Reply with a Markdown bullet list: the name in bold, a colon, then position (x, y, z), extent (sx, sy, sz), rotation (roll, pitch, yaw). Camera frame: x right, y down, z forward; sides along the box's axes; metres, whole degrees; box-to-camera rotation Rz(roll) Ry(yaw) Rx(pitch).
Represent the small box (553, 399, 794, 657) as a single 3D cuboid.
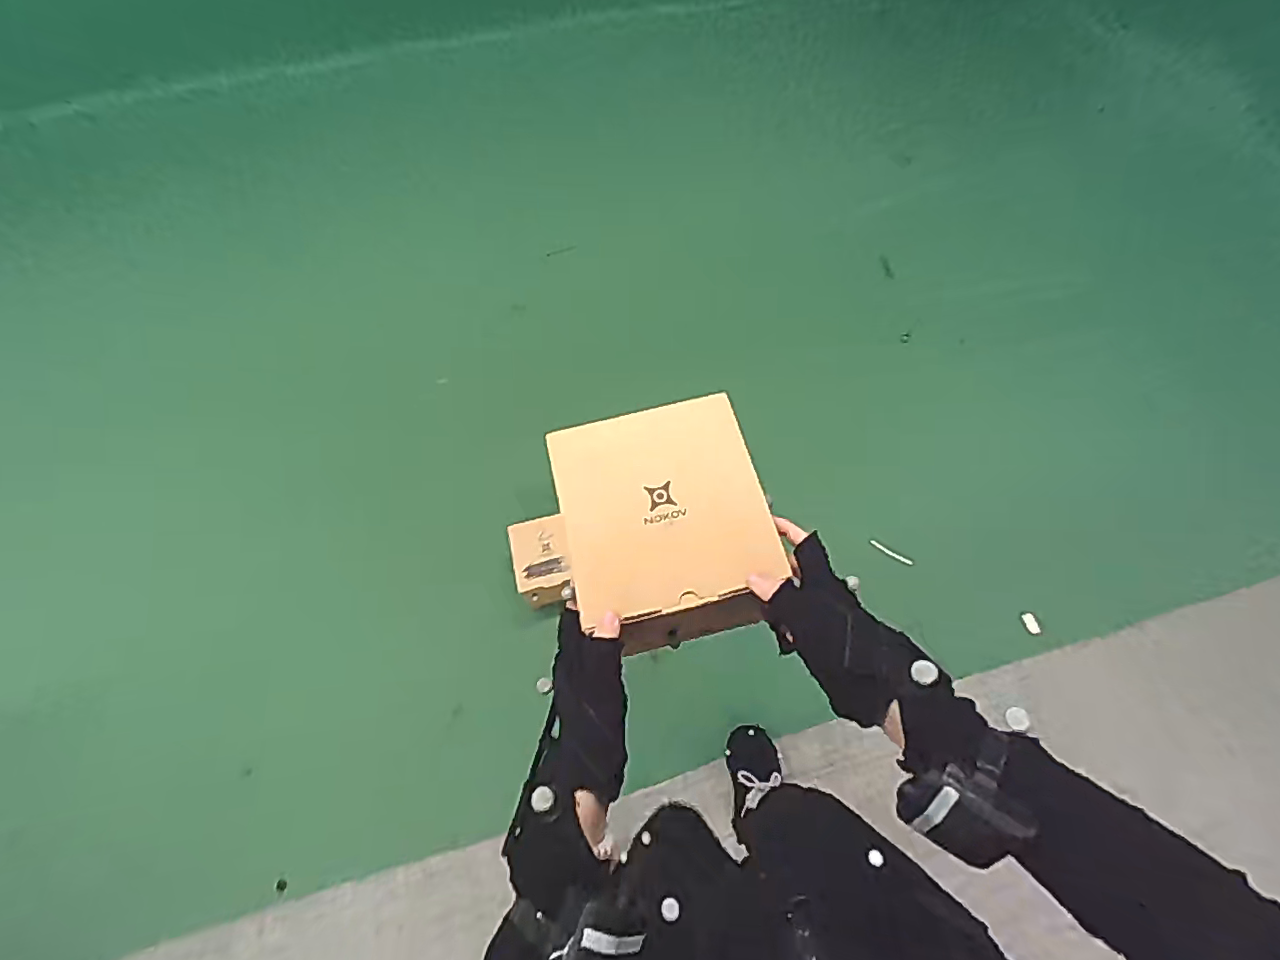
- **small box**: position (0.023, 0.054, 0.515), extent (0.168, 0.176, 0.179), rotation (-14, 66, -4)
